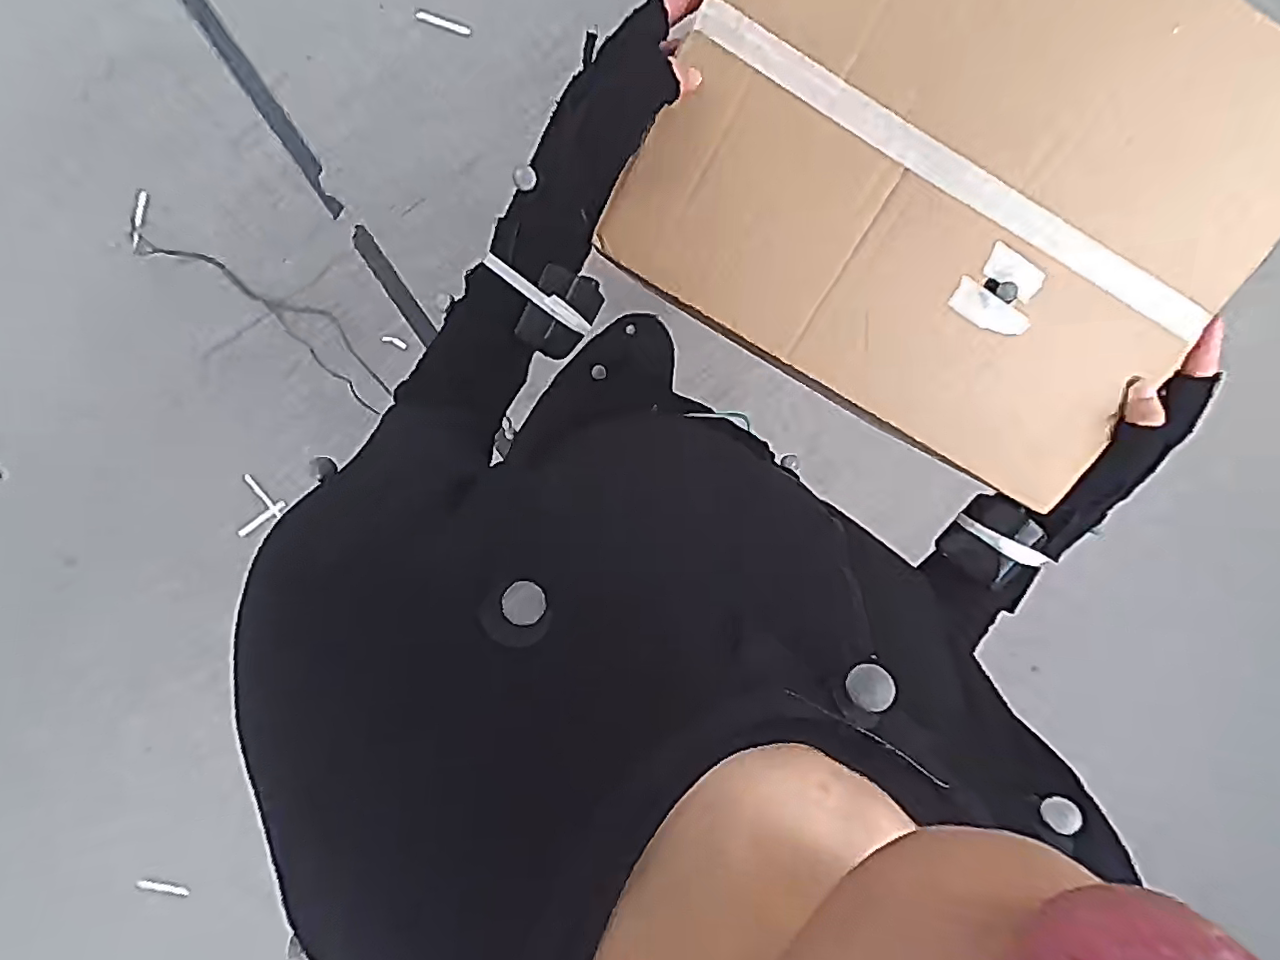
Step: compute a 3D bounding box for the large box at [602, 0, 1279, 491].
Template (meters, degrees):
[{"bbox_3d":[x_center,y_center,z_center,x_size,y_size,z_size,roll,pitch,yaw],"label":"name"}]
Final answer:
[{"bbox_3d":[0.220,-0.249,0.519,0.408,0.320,0.320,29,107,-5],"label":"large box"}]
